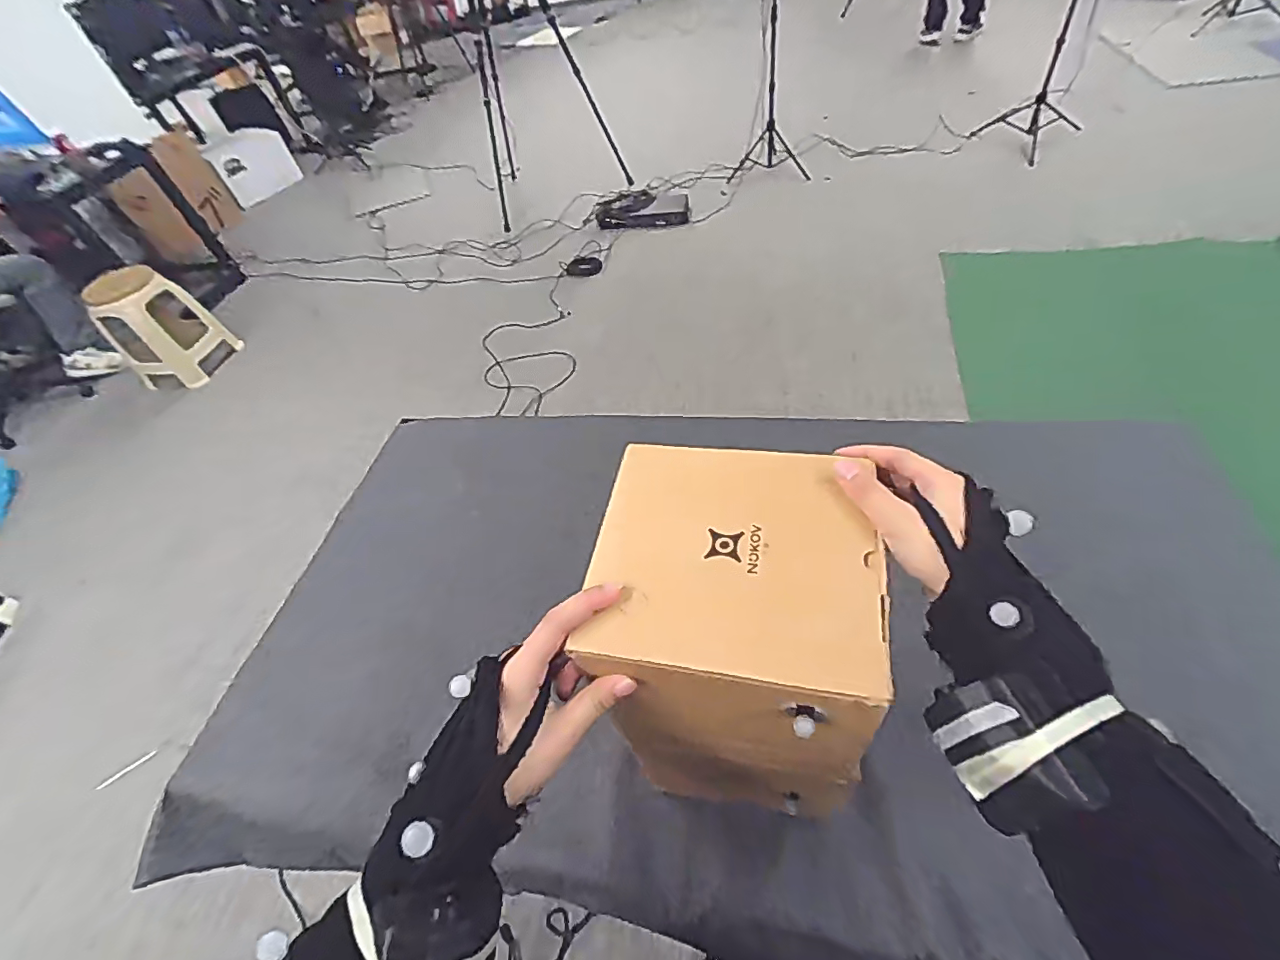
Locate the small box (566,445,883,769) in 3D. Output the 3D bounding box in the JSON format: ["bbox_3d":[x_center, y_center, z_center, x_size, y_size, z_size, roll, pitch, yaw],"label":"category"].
[{"bbox_3d":[0.068,0.093,0.400,0.179,0.176,0.168,4,50,14],"label":"small box"}]

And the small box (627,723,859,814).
[{"bbox_3d":[0.100,0.202,0.516,0.179,0.176,0.168,1,49,14],"label":"small box"}]
